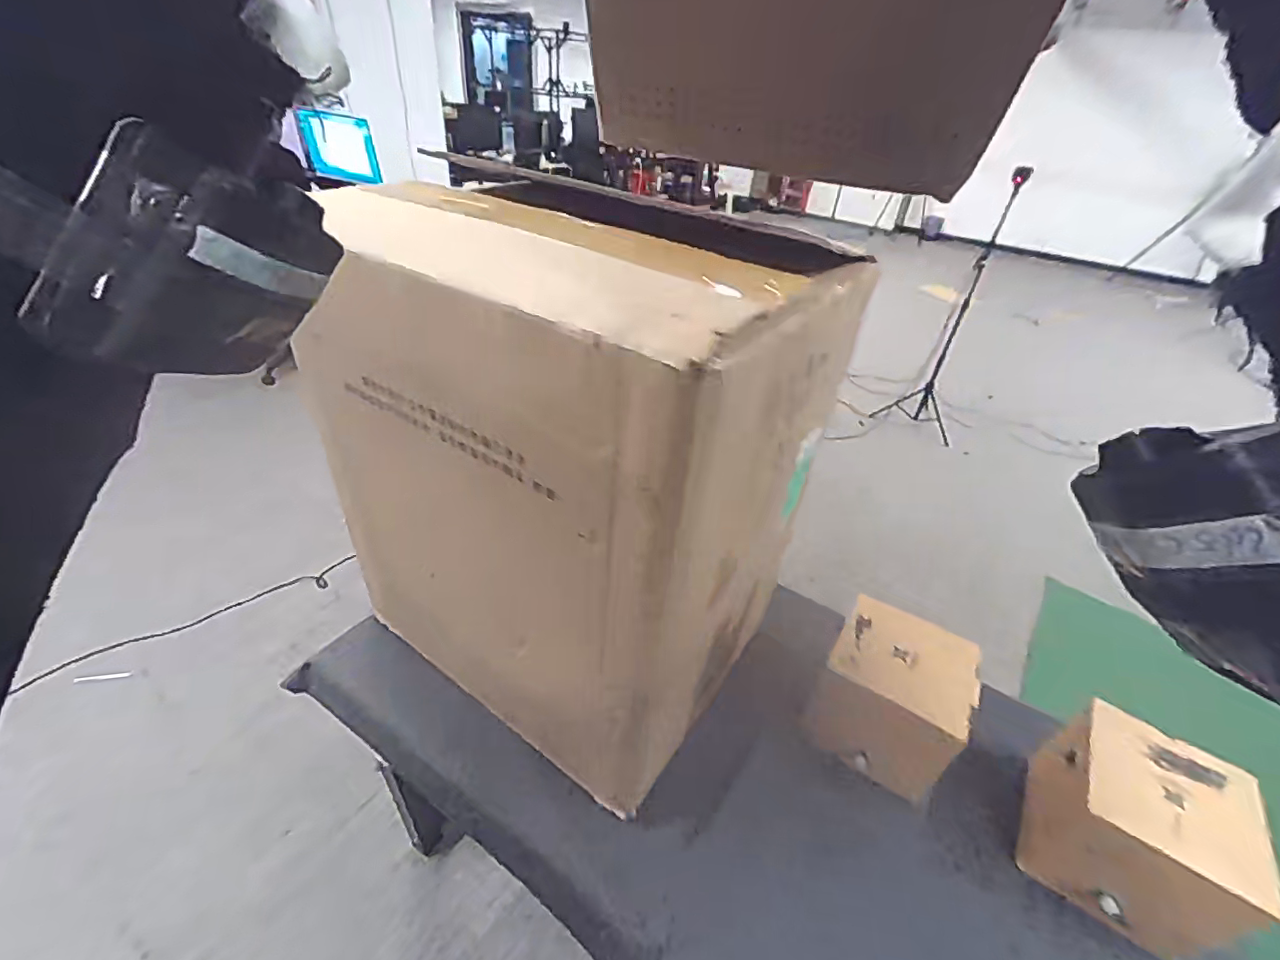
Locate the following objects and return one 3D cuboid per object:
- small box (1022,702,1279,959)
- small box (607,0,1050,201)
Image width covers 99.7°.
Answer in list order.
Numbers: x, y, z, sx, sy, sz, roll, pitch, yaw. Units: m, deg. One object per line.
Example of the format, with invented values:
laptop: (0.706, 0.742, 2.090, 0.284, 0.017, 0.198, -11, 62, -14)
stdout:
small box: (0.604, 0.424, 0.664, 0.168, 0.176, 0.179, 26, 41, 27)
small box: (0.087, -0.252, 0.229, 0.179, 0.176, 0.168, 17, 70, 10)
